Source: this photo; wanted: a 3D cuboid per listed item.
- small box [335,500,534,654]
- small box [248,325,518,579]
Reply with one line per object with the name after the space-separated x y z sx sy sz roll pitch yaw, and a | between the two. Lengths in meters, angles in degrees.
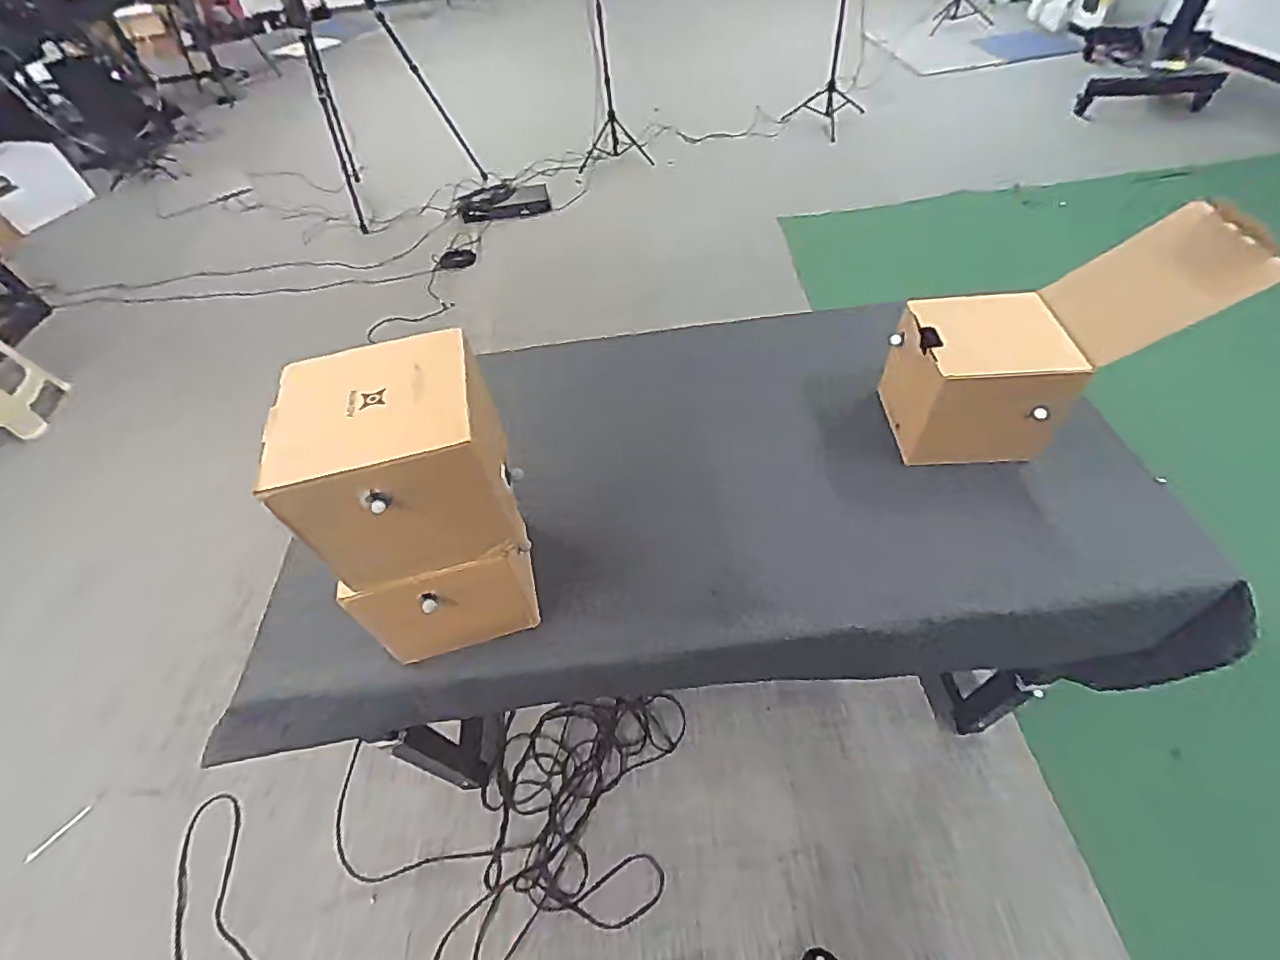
-0.235 0.087 0.659 0.179 0.176 0.168 -15 50 -5 | small box
-0.234 -0.023 0.538 0.179 0.176 0.168 -14 52 -6 | small box
